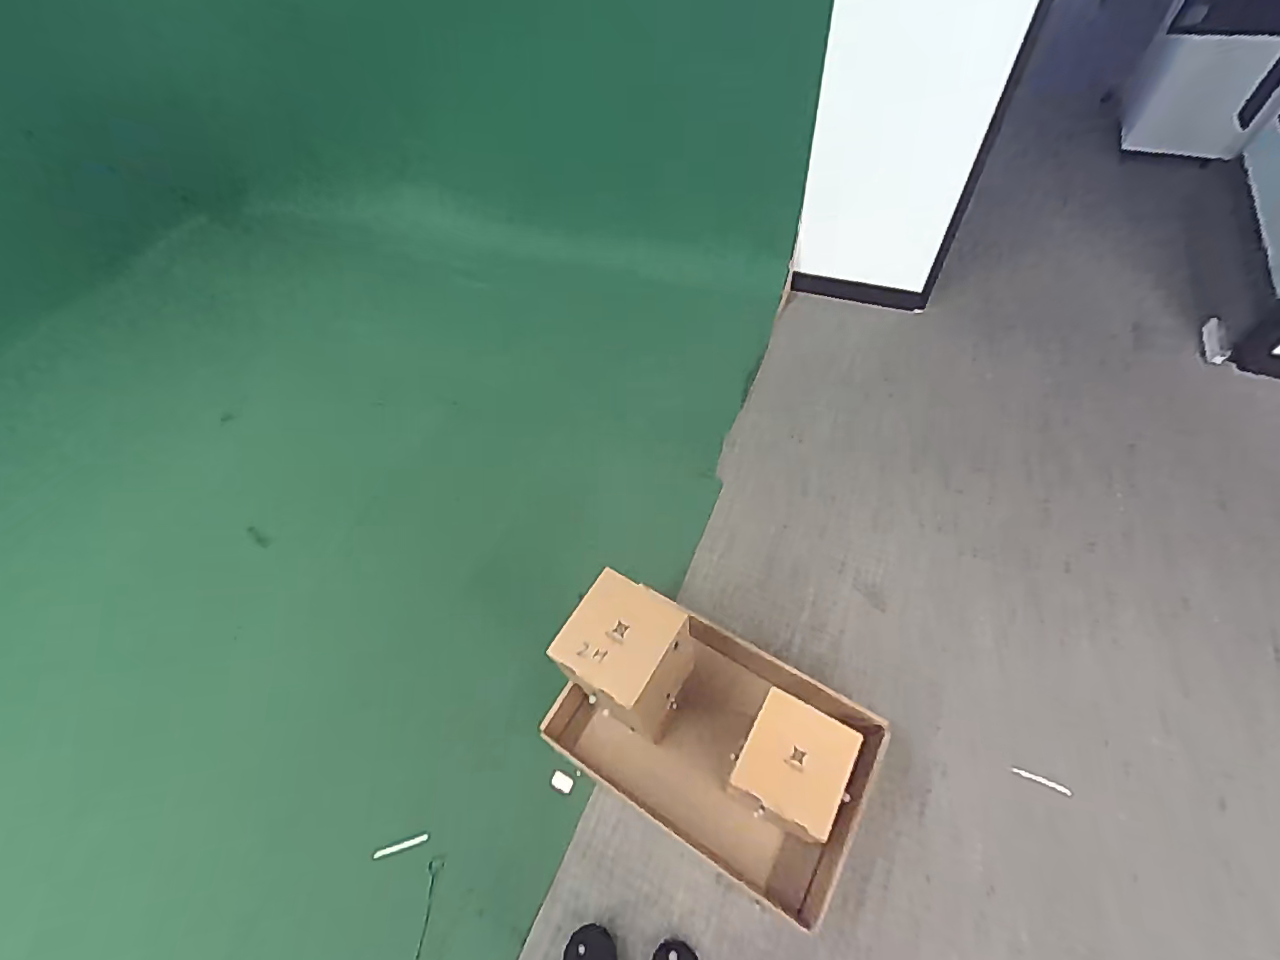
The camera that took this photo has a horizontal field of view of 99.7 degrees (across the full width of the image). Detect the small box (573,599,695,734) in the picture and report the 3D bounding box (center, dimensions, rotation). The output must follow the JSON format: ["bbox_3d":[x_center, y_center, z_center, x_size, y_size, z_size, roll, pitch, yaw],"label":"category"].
[{"bbox_3d":[-0.006,0.374,1.074,0.168,0.176,0.179,29,66,21],"label":"small box"}]

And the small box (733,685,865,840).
[{"bbox_3d":[0.271,0.498,0.958,0.168,0.176,0.179,24,65,21],"label":"small box"}]
